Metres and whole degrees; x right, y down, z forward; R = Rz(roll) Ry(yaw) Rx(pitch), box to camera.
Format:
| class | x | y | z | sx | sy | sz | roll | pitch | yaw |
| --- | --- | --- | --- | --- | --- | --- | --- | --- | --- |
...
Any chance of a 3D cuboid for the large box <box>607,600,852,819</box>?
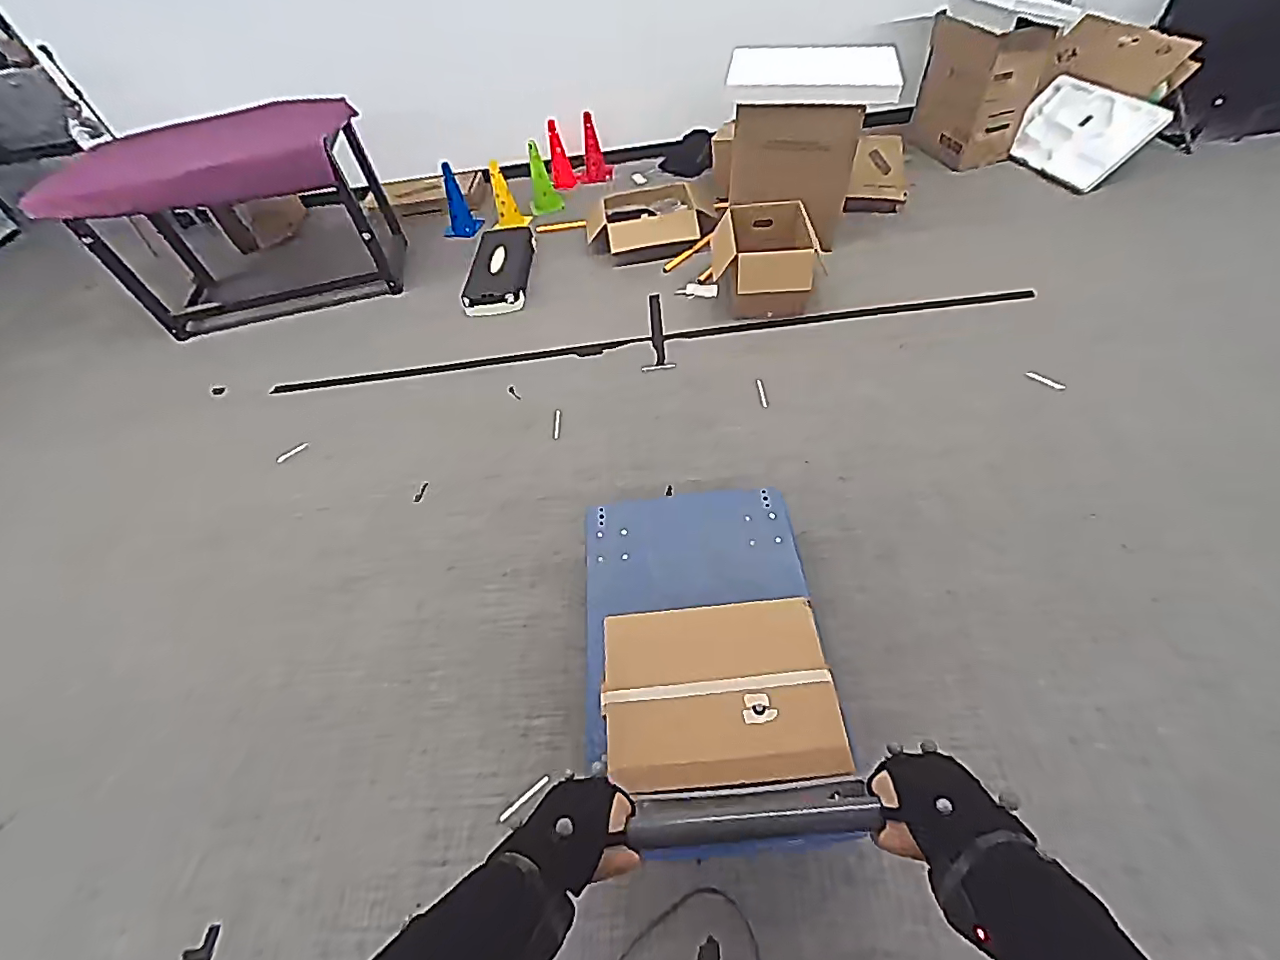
| class | x | y | z | sx | sy | sz | roll | pitch | yaw |
| --- | --- | --- | --- | --- | --- | --- | --- | --- | --- |
| large box | 0.155 | 0.474 | 1.102 | 0.408 | 0.320 | 0.320 | -6 | 52 | 1 |
